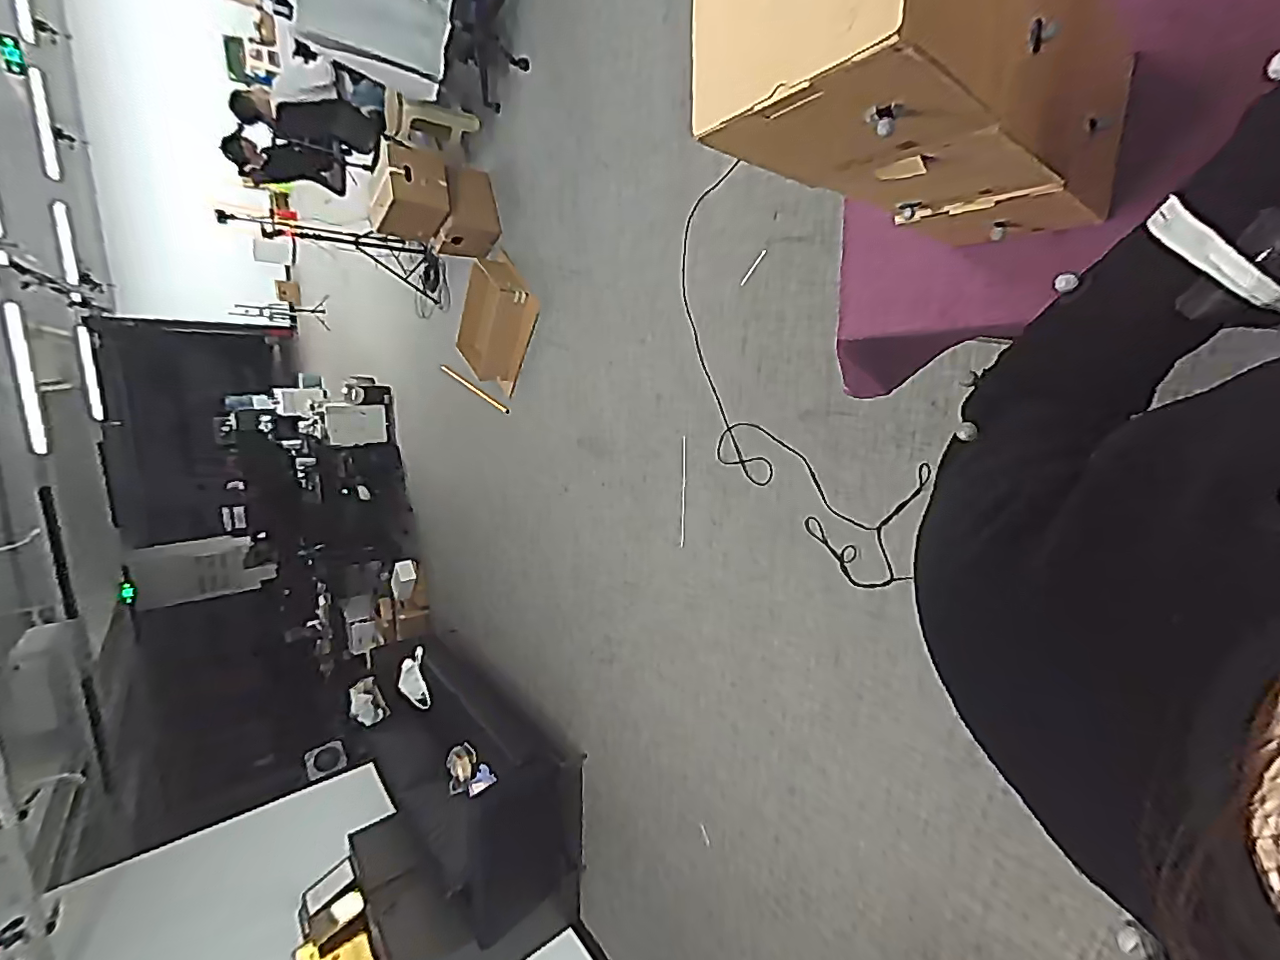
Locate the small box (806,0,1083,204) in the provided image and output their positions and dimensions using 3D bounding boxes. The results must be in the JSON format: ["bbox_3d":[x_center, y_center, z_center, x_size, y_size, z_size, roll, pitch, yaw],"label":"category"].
[{"bbox_3d":[0.280,-0.373,0.503,0.168,0.176,0.179,16,108,48],"label":"small box"}]

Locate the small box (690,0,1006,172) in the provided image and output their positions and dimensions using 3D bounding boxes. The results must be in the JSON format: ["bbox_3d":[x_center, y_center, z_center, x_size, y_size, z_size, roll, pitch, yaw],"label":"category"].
[{"bbox_3d":[0.155,-0.351,0.400,0.168,0.176,0.179,13,106,48],"label":"small box"}]

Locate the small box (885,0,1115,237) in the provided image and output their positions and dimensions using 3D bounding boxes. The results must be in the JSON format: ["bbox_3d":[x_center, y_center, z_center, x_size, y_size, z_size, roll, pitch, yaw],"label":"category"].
[{"bbox_3d":[0.404,-0.384,0.611,0.168,0.176,0.179,15,108,48],"label":"small box"}]
